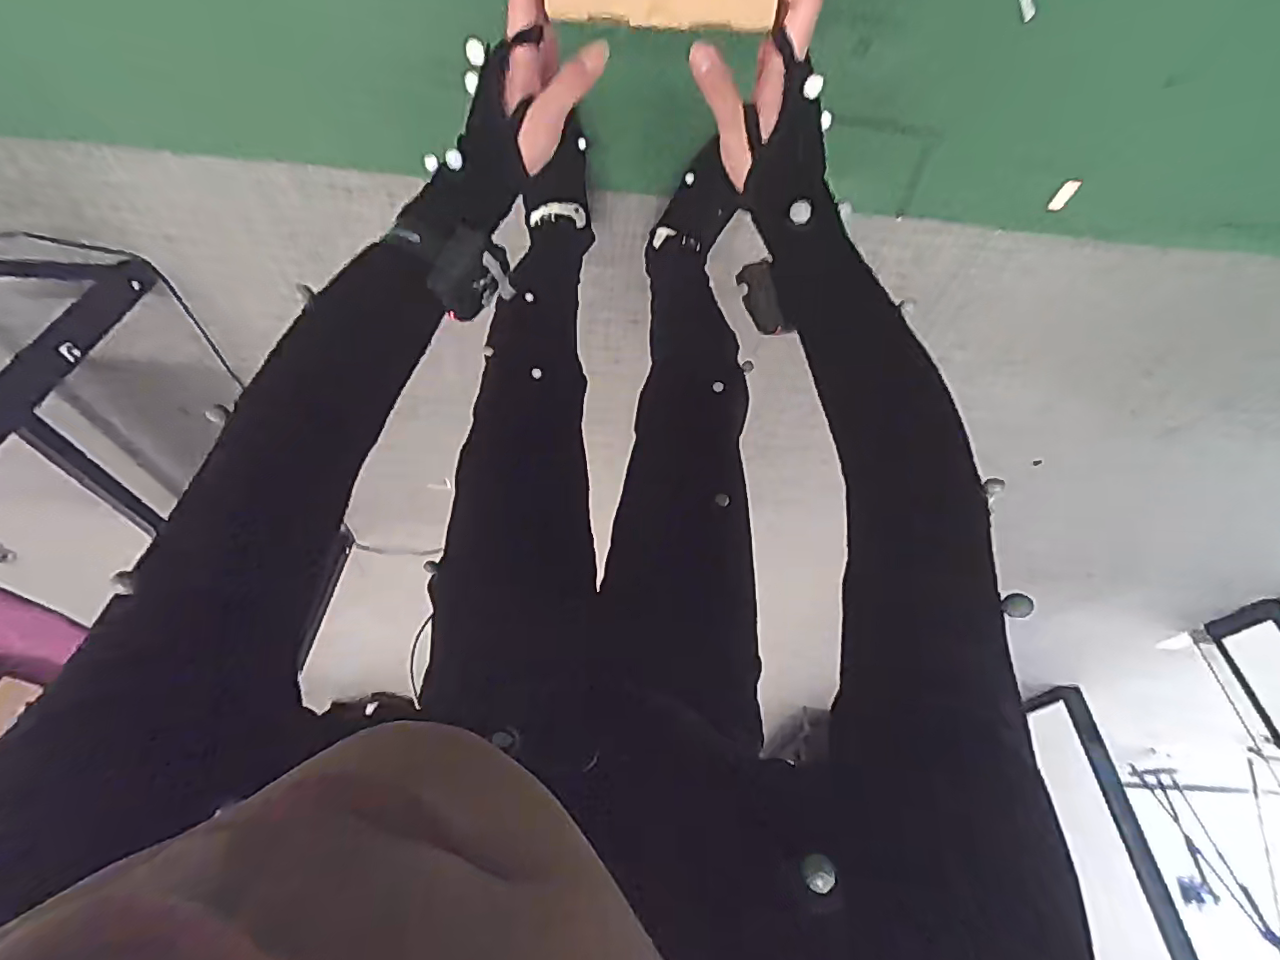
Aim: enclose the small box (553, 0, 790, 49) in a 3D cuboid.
[{"bbox_3d":[0.027,-0.430,0.384,0.168,0.176,0.179,4,135,2],"label":"small box"}]
